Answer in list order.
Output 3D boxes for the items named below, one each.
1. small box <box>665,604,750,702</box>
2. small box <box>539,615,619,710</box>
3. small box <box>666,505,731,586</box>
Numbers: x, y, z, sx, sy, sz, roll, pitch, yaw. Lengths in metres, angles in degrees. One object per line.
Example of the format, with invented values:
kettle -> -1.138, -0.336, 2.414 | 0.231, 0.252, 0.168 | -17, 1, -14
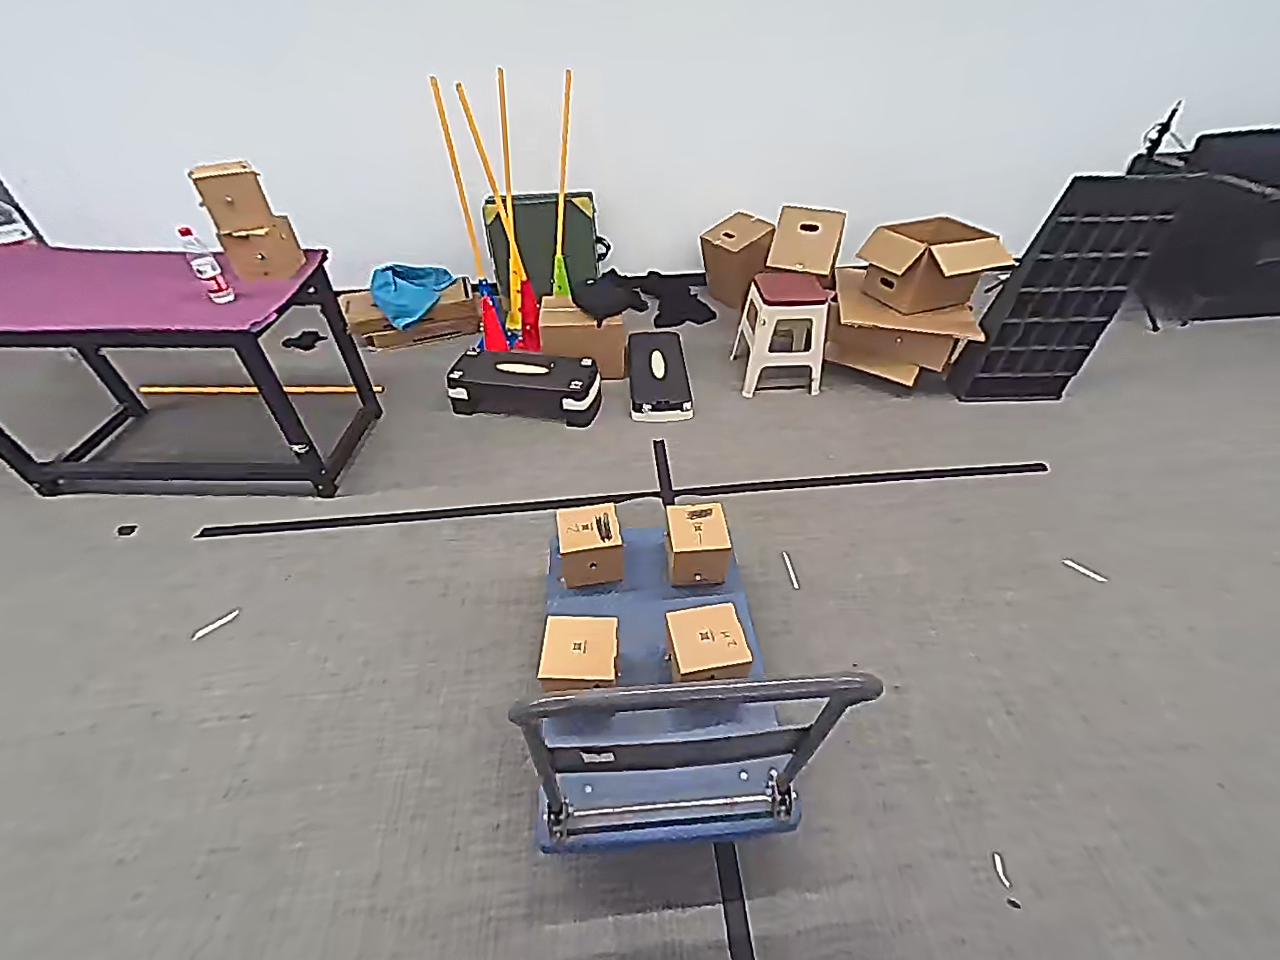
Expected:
small box -> 0.162, 0.438, 1.358 | 0.179, 0.176, 0.168 | -7, 44, -7
small box -> -0.144, 0.455, 1.340 | 0.179, 0.176, 0.168 | 2, 43, 0
small box -> 0.168, 0.196, 1.614 | 0.168, 0.176, 0.179 | -3, 45, -3
